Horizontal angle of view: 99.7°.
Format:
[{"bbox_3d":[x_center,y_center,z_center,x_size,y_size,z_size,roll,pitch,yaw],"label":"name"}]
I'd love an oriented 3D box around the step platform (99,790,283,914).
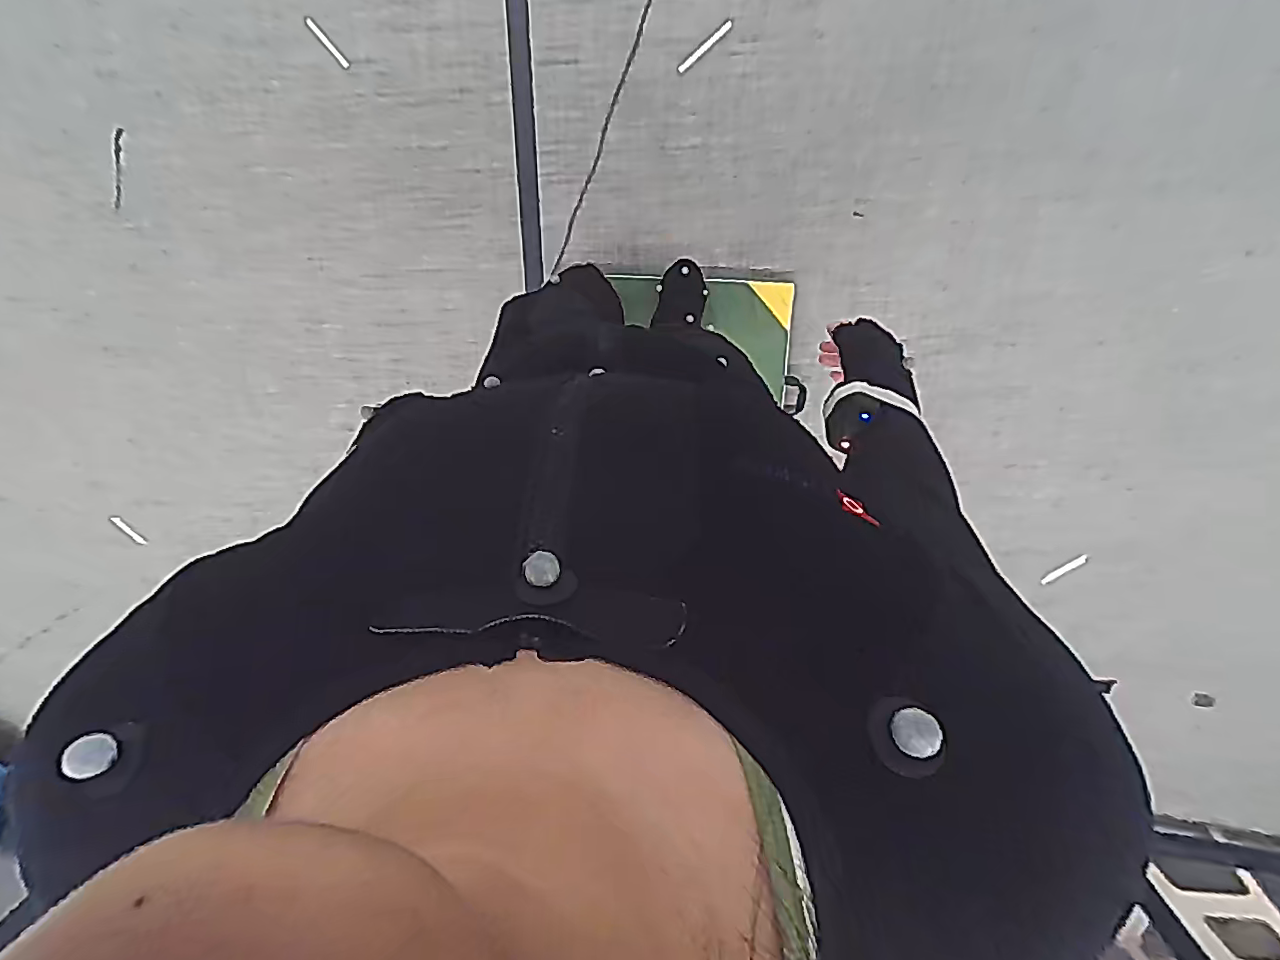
[{"bbox_3d":[-1.838,1.527,2.211,0.684,0.204,0.286,-26,107,13],"label":"step platform"}]
